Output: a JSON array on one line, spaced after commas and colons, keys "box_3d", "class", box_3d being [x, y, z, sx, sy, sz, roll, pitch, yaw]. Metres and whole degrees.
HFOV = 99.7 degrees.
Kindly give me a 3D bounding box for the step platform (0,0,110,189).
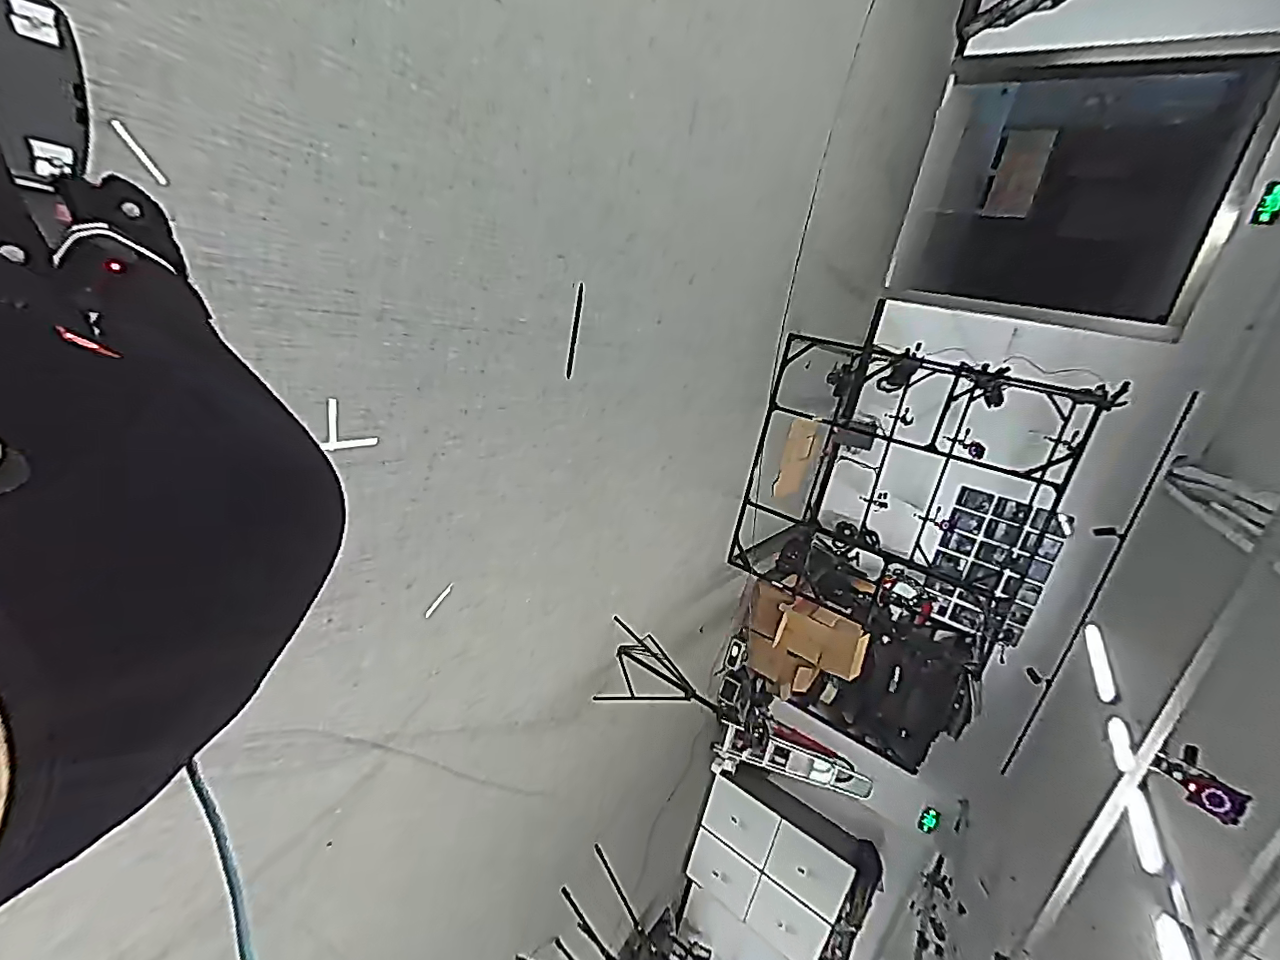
[{"box_3d": [-1.174, -0.624, 0.708, 0.684, 0.204, 0.286, -16, 122, -55], "class": "step platform"}]
